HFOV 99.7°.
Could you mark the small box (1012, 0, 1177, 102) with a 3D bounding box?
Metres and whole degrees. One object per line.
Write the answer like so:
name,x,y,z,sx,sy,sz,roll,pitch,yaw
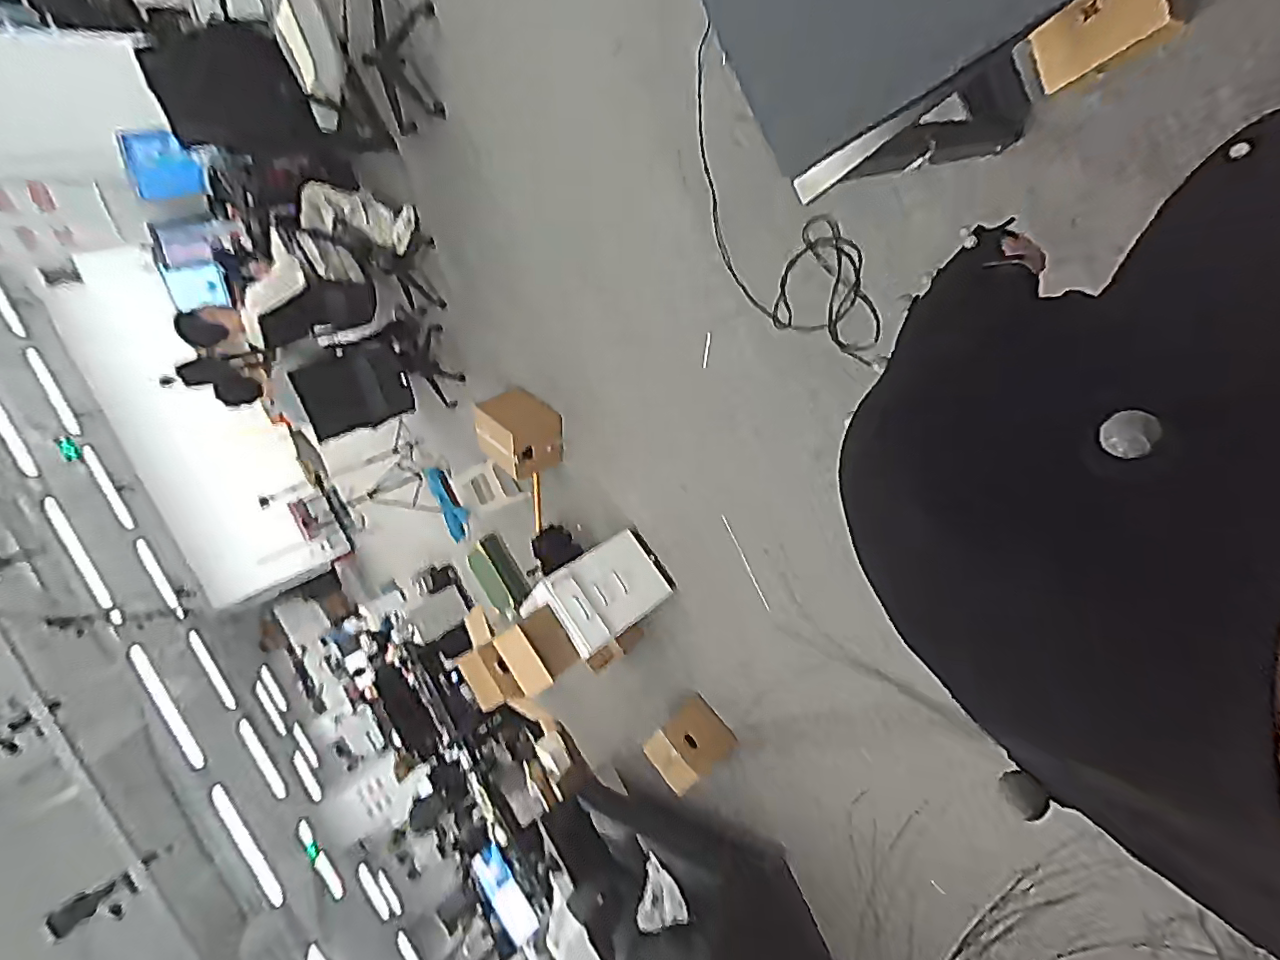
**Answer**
small box,0.782,-0.792,0.928,0.168,0.176,0.179,-11,104,54
